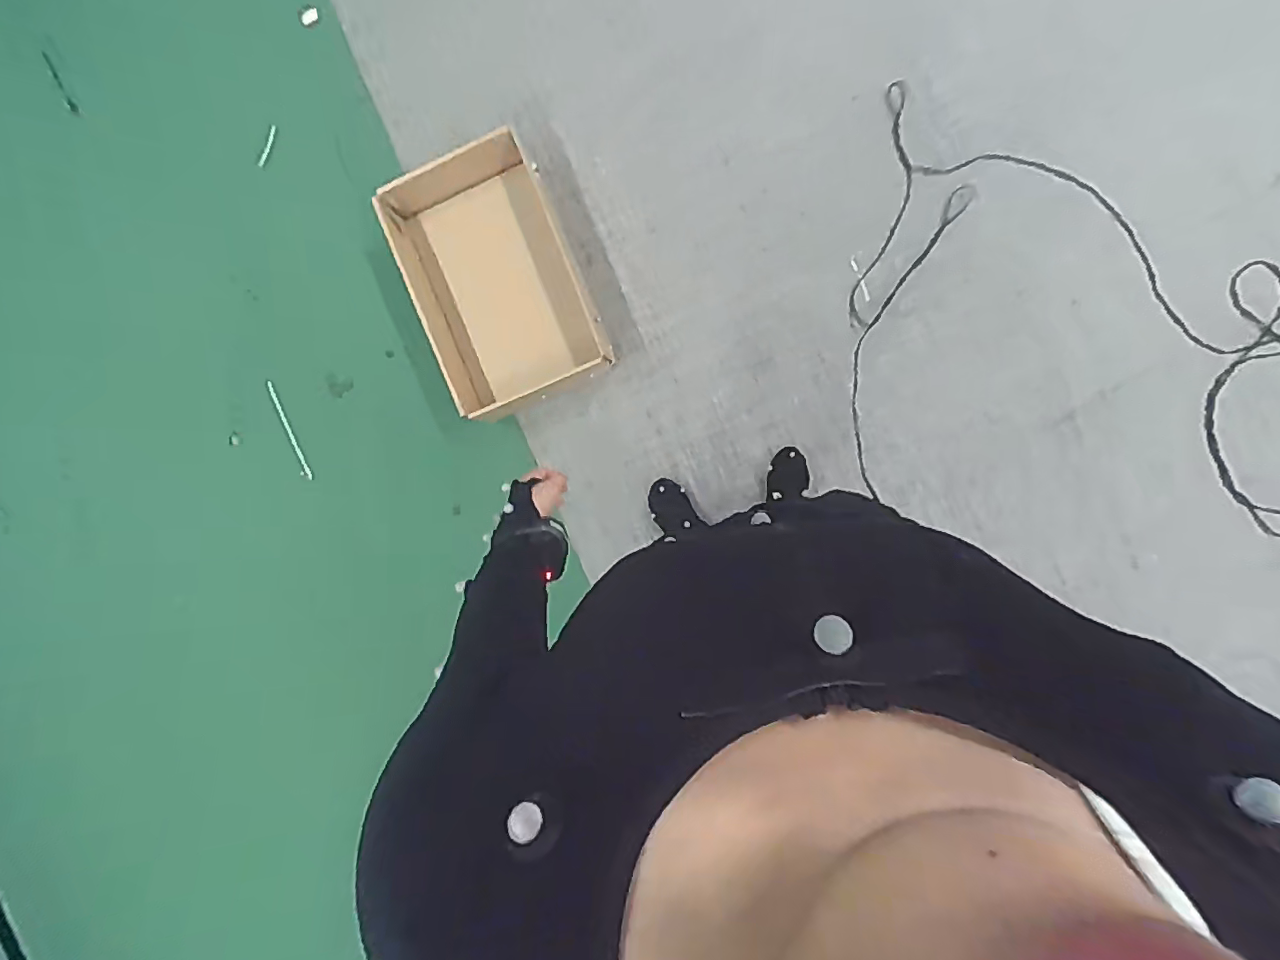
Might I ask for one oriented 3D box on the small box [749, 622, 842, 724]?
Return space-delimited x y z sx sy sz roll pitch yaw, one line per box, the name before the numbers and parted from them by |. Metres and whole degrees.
small box | 0.388 0.487 1.387 0.179 0.176 0.168 -23 90 6
